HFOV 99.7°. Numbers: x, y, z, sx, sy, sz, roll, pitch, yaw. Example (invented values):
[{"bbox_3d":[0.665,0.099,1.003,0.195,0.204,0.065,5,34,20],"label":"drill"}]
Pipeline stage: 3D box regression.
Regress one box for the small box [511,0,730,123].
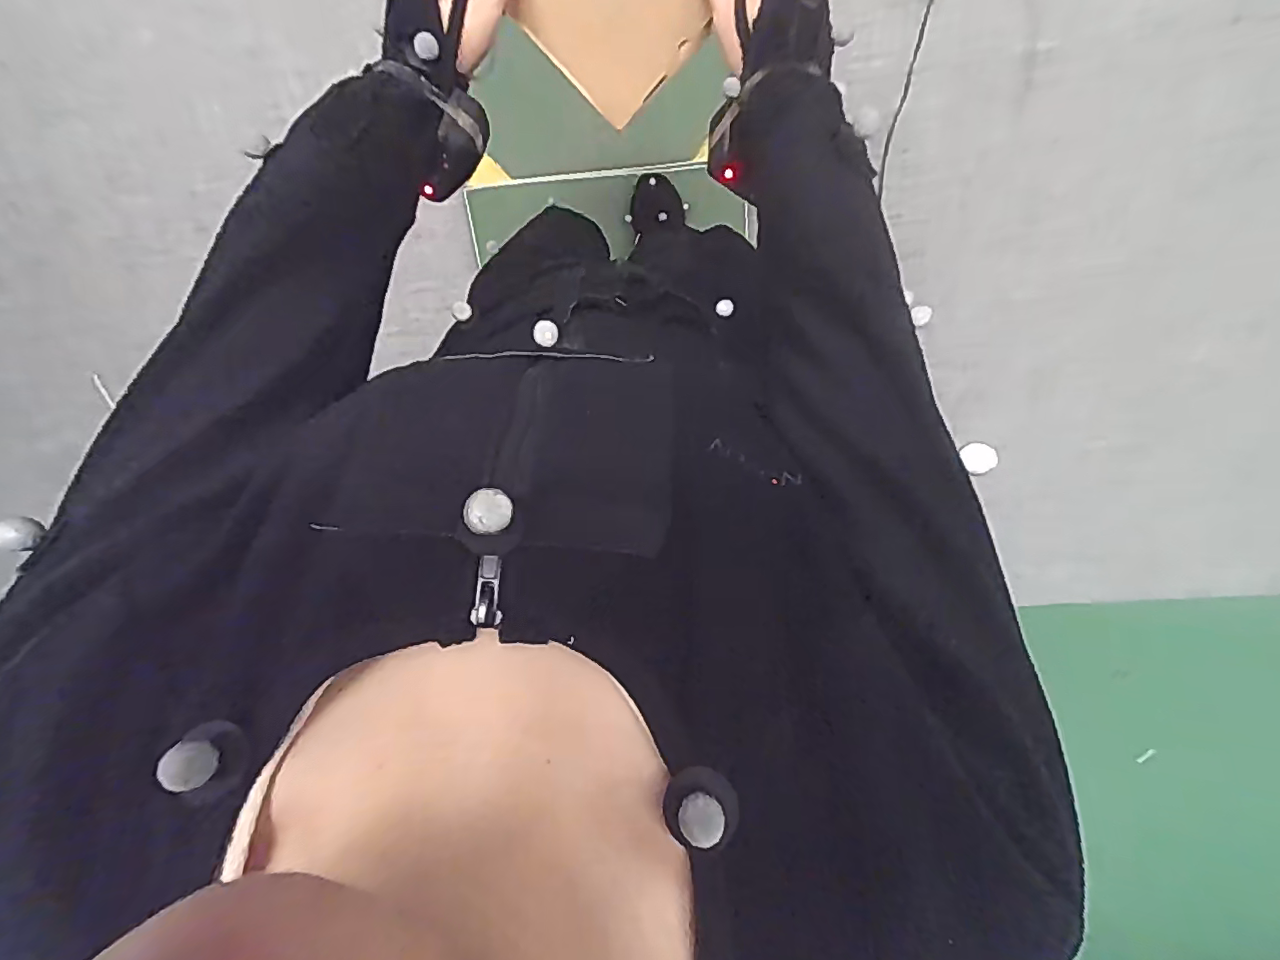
[{"bbox_3d":[-0.015,-0.454,0.448,0.179,0.176,0.168,35,129,-29],"label":"small box"}]
